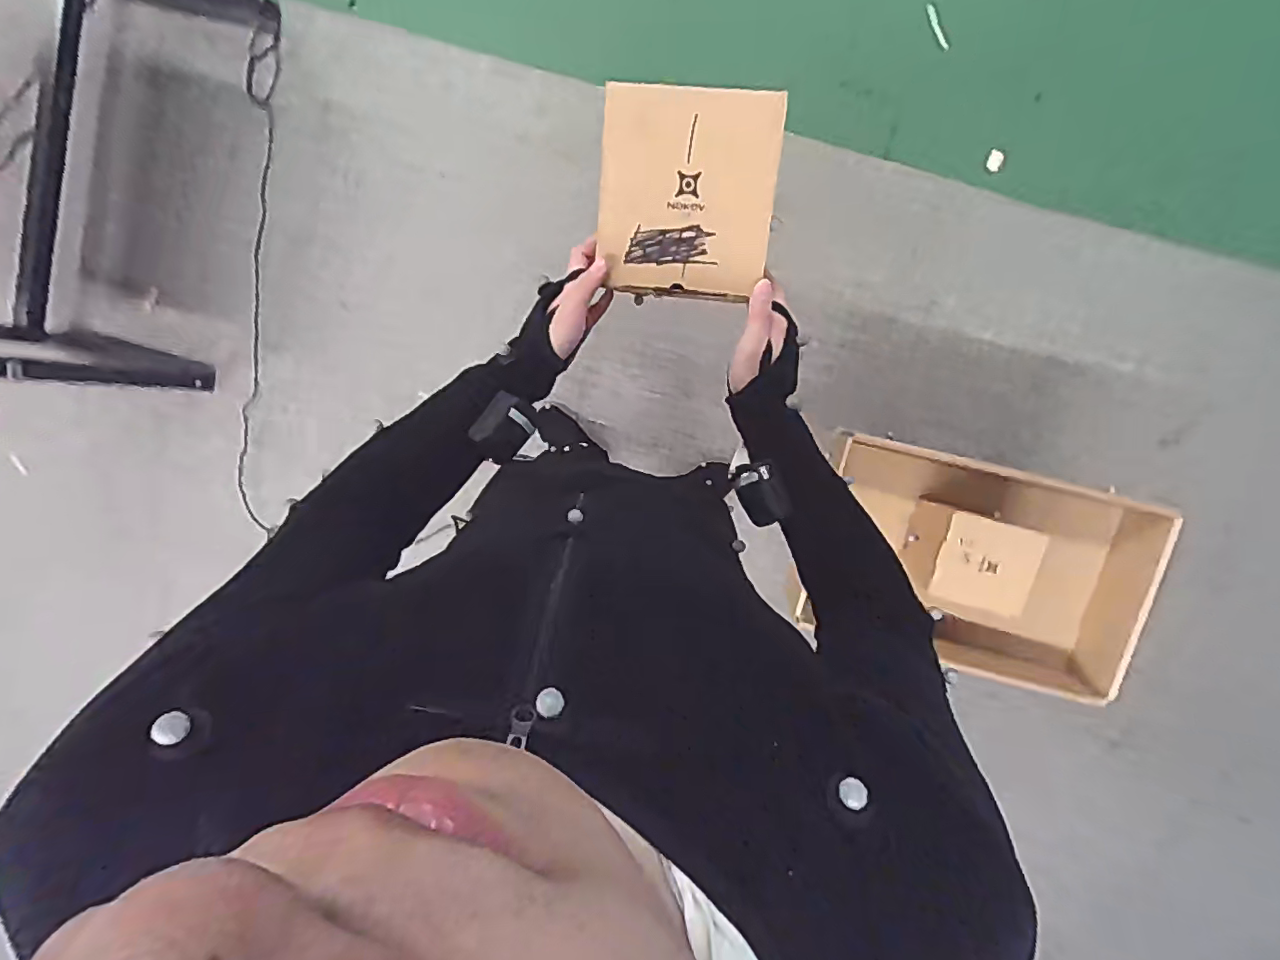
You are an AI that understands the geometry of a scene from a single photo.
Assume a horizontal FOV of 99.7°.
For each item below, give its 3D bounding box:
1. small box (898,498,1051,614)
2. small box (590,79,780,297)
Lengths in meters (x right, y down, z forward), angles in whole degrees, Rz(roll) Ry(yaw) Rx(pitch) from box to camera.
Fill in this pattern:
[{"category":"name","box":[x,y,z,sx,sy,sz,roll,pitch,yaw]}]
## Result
[{"category":"small box","box":[0.651,0.141,1.074,0.179,0.176,0.168,15,98,3]},{"category":"small box","box":[0.045,-0.292,0.578,0.168,0.176,0.179,5,107,4]}]
